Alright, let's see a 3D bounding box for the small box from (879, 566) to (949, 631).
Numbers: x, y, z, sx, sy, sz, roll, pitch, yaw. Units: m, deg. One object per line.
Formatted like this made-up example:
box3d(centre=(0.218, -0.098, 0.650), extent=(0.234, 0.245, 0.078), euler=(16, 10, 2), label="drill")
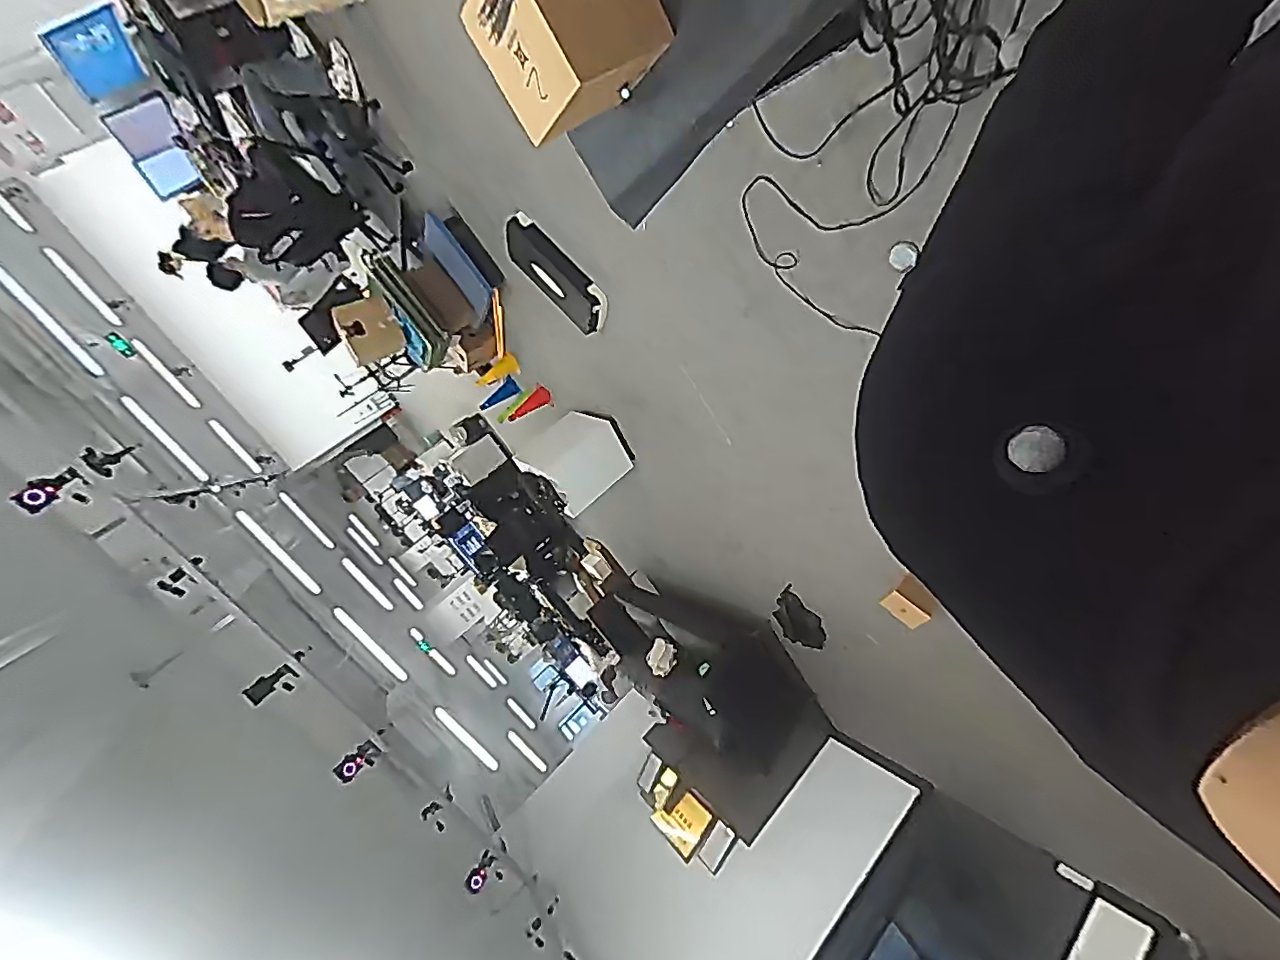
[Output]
box3d(centre=(1.133, 0.489, 2.232), extent=(0.168, 0.176, 0.179), euler=(39, 157, 21), label="small box")
